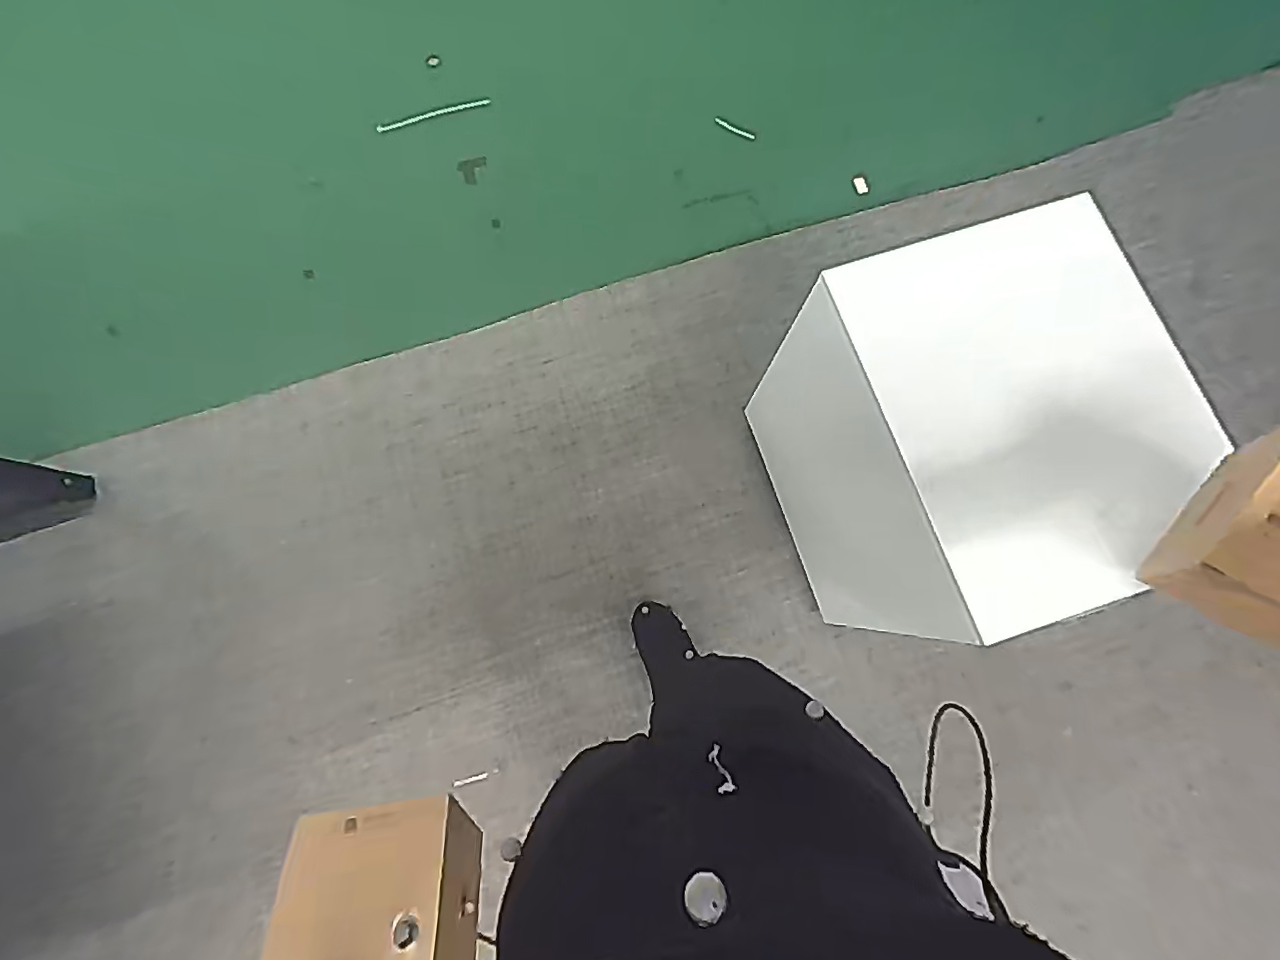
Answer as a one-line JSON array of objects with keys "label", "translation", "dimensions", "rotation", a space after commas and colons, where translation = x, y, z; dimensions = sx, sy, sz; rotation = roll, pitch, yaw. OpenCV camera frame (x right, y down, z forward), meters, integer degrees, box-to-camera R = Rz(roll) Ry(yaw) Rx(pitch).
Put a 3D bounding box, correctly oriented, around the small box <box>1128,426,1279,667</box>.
[{"label": "small box", "translation": [0.613, 0.066, 0.499], "dimensions": [0.176, 0.179, 0.168], "rotation": [38, 95, 27]}]
